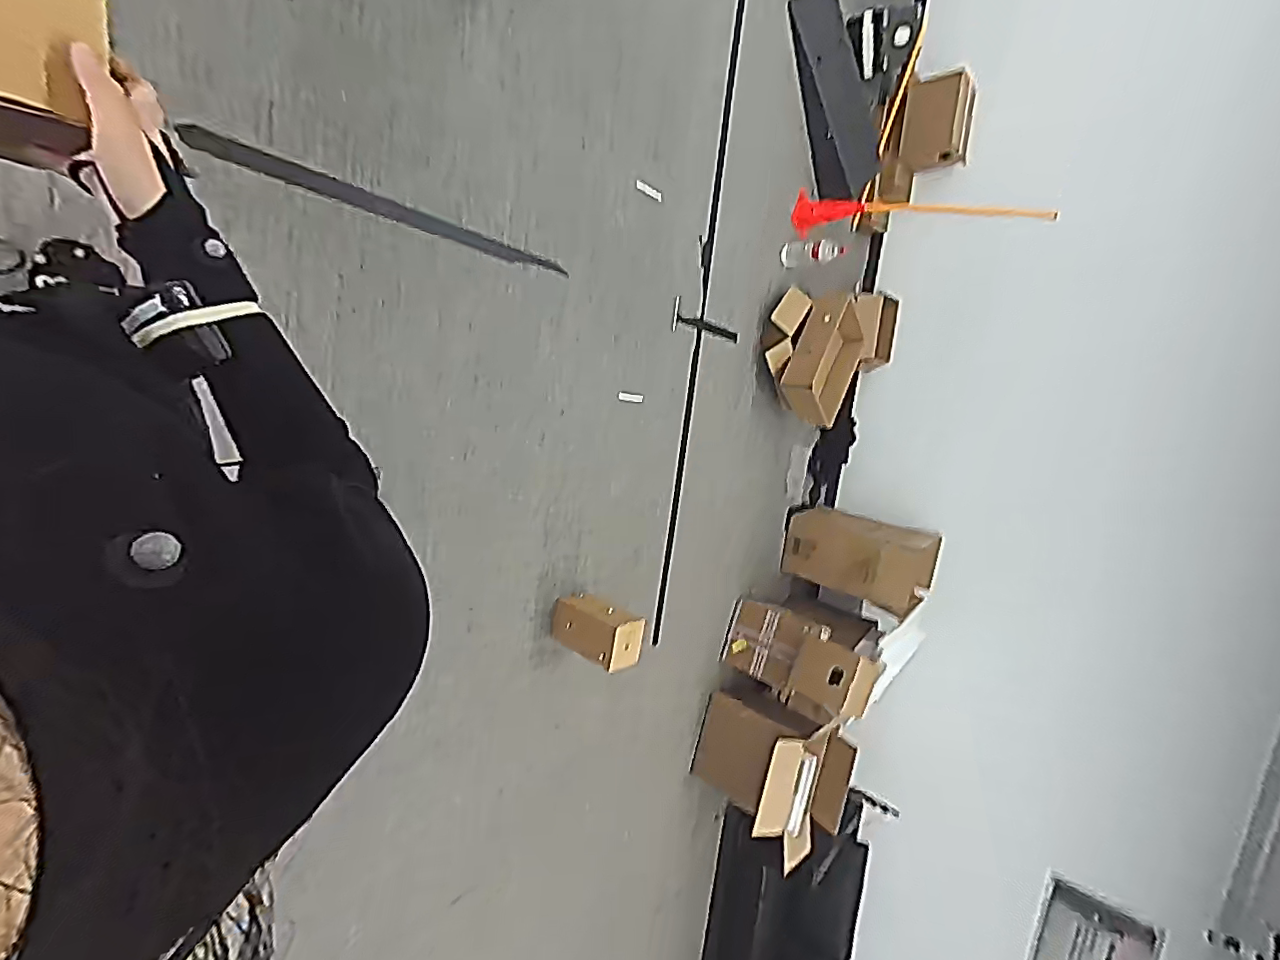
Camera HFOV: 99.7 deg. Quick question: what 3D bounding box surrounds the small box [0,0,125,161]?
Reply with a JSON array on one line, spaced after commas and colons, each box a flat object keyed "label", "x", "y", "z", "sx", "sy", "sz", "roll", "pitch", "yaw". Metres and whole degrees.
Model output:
[{"label": "small box", "x": -0.456, "y": -0.325, "z": 0.330, "sx": 0.168, "sy": 0.176, "sz": 0.179, "roll": -10, "pitch": 109, "yaw": -57}]

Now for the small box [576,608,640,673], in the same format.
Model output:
[{"label": "small box", "x": -0.126, "y": 0.608, "z": 2.070, "sx": 0.168, "sy": 0.176, "sz": 0.179, "roll": 4, "pitch": 98, "yaw": -51}]

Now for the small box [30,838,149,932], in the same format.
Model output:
[{"label": "small box", "x": -1.186, "y": 0.923, "z": 1.169, "sx": 0.168, "sy": 0.176, "sz": 0.179, "roll": -8, "pitch": 109, "yaw": -48}]
